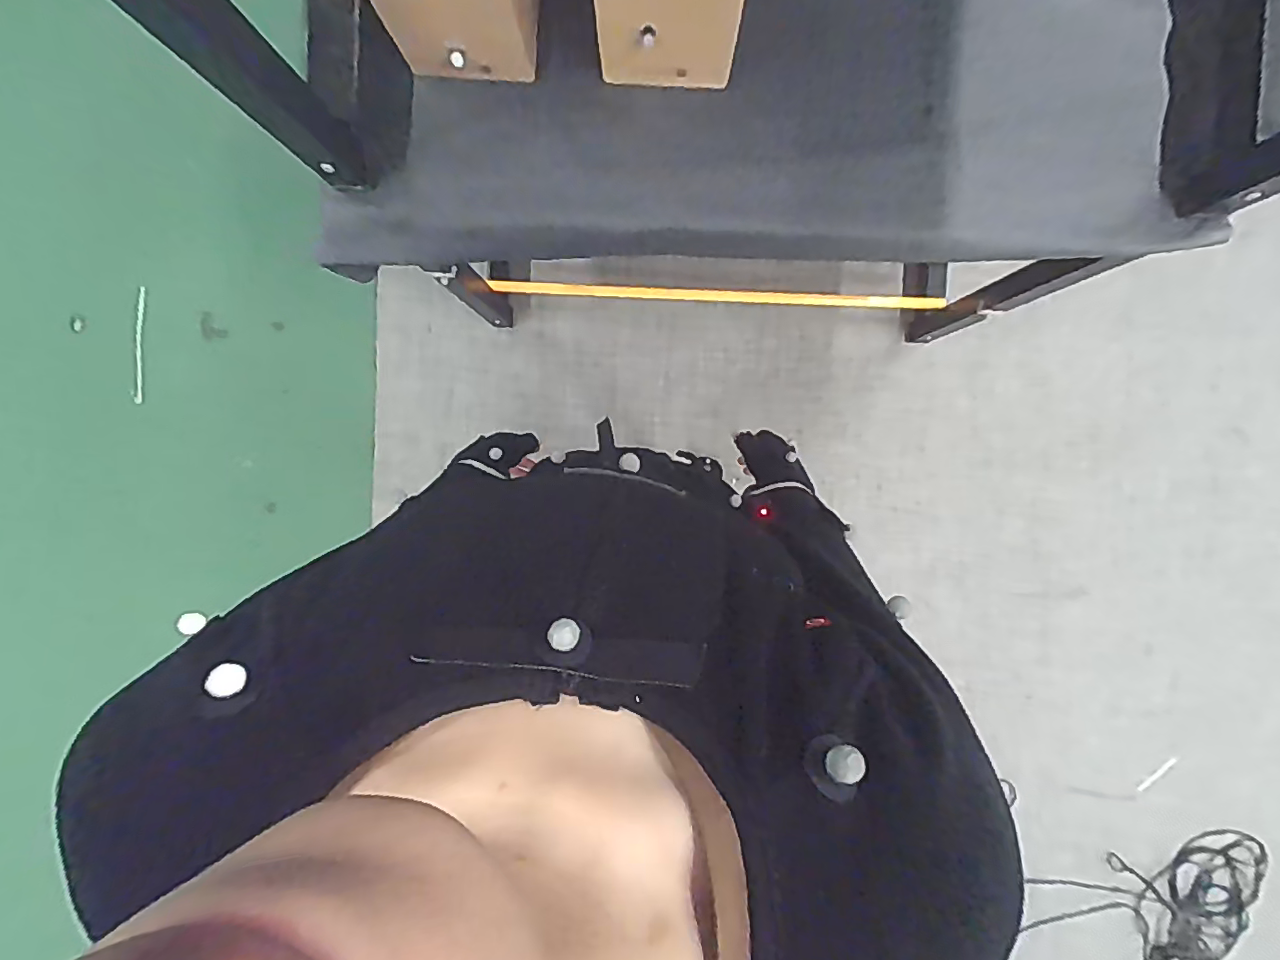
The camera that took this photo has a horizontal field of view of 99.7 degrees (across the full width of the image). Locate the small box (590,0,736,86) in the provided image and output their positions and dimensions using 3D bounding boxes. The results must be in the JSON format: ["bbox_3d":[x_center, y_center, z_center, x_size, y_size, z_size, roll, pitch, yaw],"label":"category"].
[{"bbox_3d":[0.032,-0.611,0.643,0.168,0.176,0.179,3,92,0],"label":"small box"}]

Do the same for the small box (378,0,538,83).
[{"bbox_3d":[-0.220,-0.622,0.643,0.168,0.176,0.179,3,93,1],"label":"small box"}]
